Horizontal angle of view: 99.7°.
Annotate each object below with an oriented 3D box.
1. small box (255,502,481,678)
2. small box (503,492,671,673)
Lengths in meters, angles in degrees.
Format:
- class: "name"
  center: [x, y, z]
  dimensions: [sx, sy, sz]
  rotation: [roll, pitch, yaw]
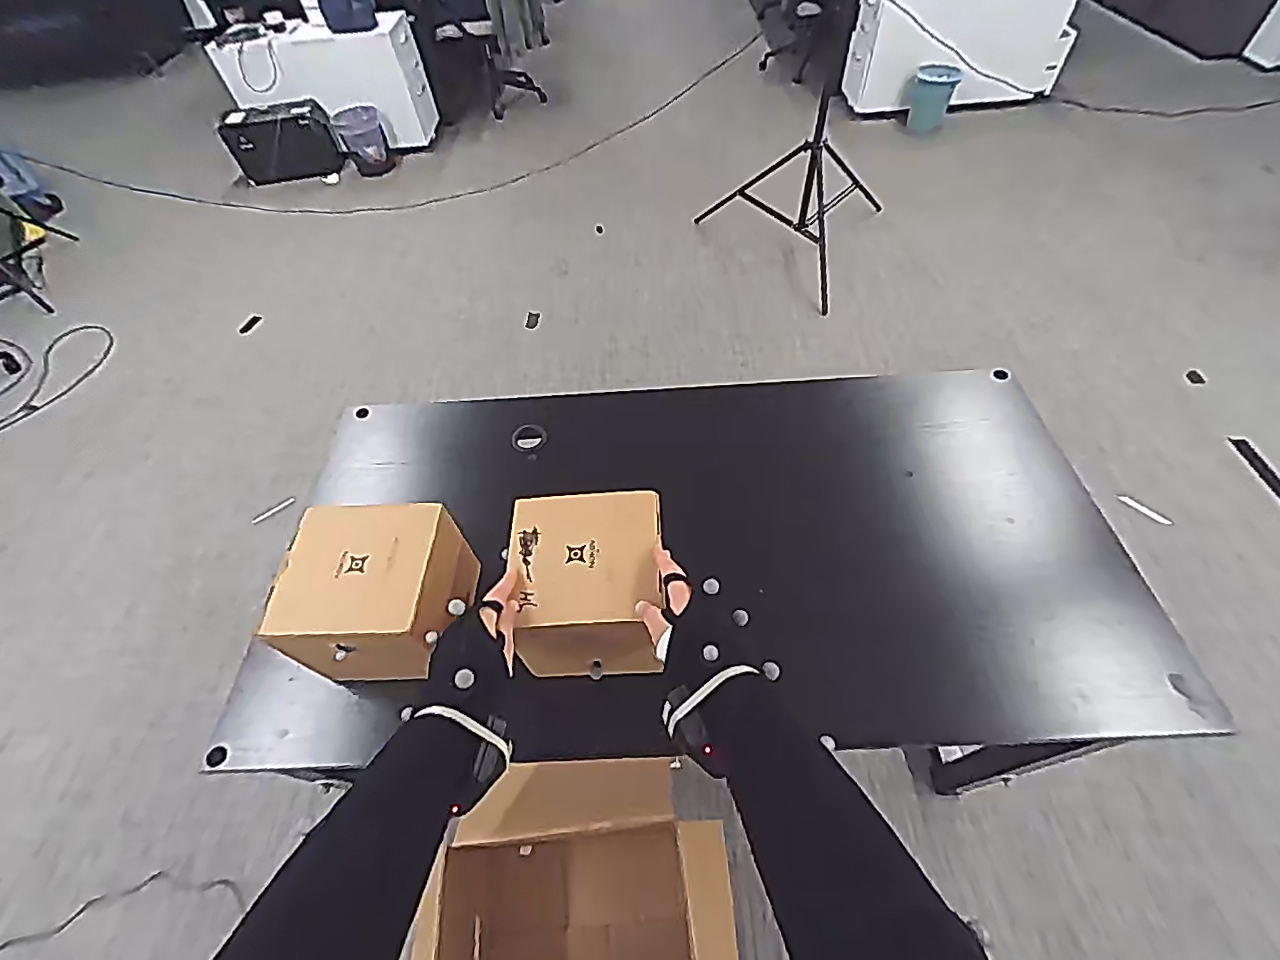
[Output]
- class: "small box"
  center: [-0.319, 0.143, 0.679]
  dimensions: [0.179, 0.176, 0.168]
  rotation: [-2, 55, 1]
- class: "small box"
  center: [-0.054, 0.130, 0.668]
  dimensions: [0.179, 0.176, 0.168]
  rotation: [-3, 53, 2]
